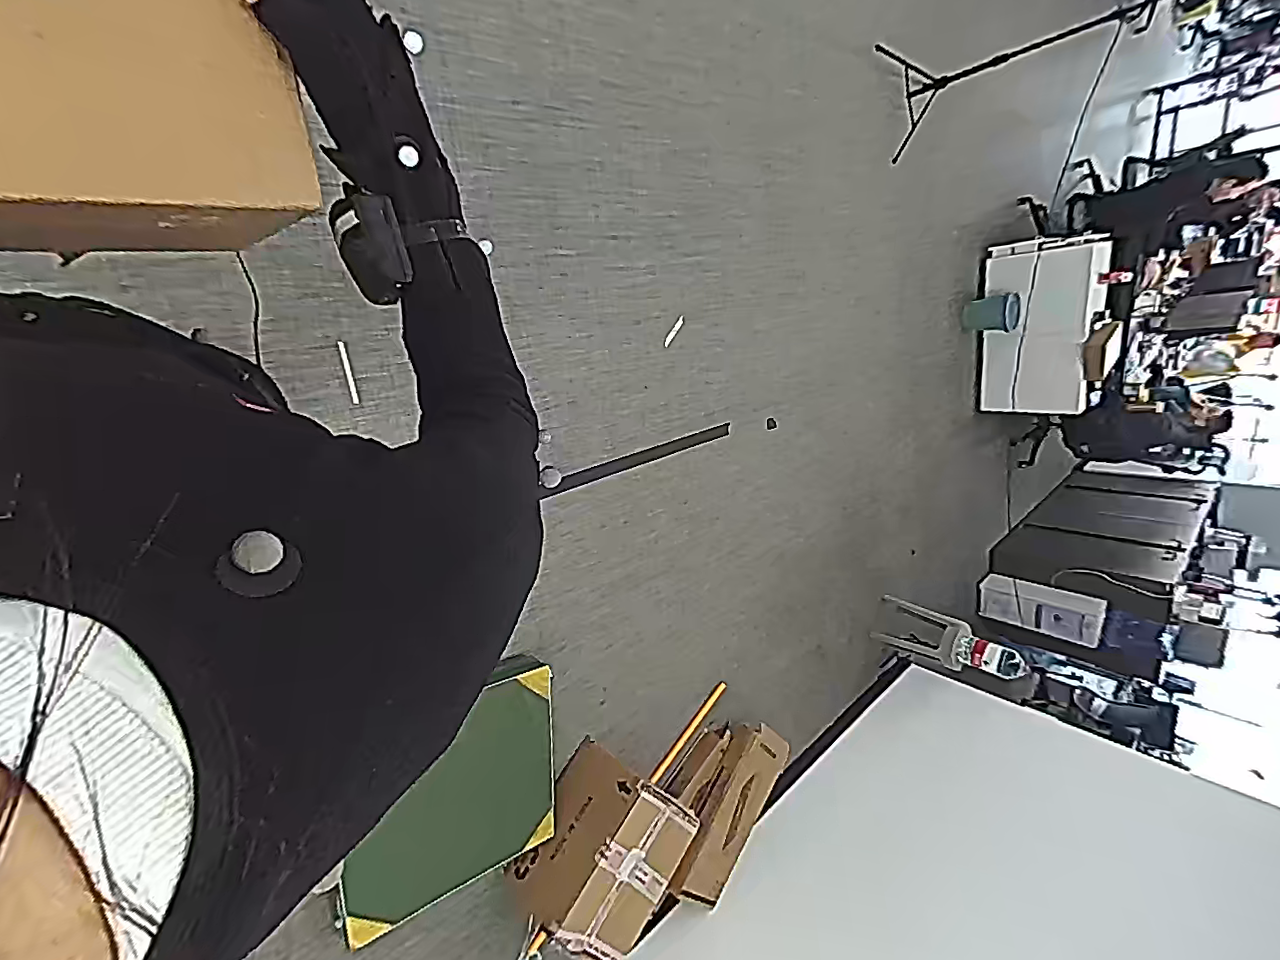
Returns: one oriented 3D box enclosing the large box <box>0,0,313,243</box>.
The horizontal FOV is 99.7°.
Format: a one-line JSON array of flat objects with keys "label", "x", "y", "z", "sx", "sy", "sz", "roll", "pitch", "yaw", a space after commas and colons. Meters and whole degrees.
[{"label": "large box", "x": -0.480, "y": -0.310, "z": 0.298, "sx": 0.408, "sy": 0.320, "sz": 0.320, "roll": -22, "pitch": 118, "yaw": -40}]
